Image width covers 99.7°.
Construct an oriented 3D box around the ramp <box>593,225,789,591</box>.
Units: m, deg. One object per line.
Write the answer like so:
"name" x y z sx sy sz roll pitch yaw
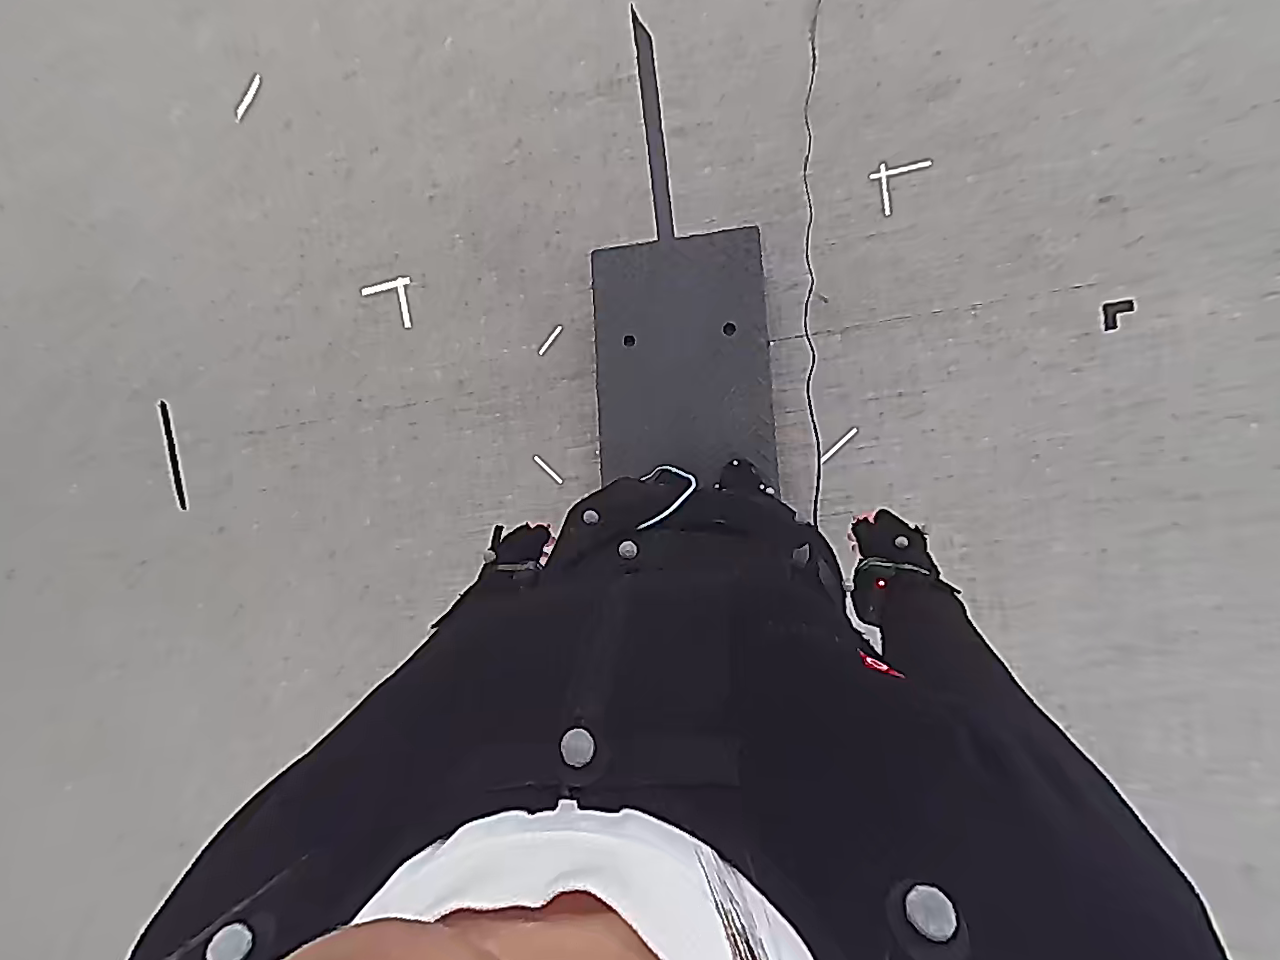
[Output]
"ramp" 0.121 -0.205 1.506 0.509 0.206 0.991 -6 93 11
